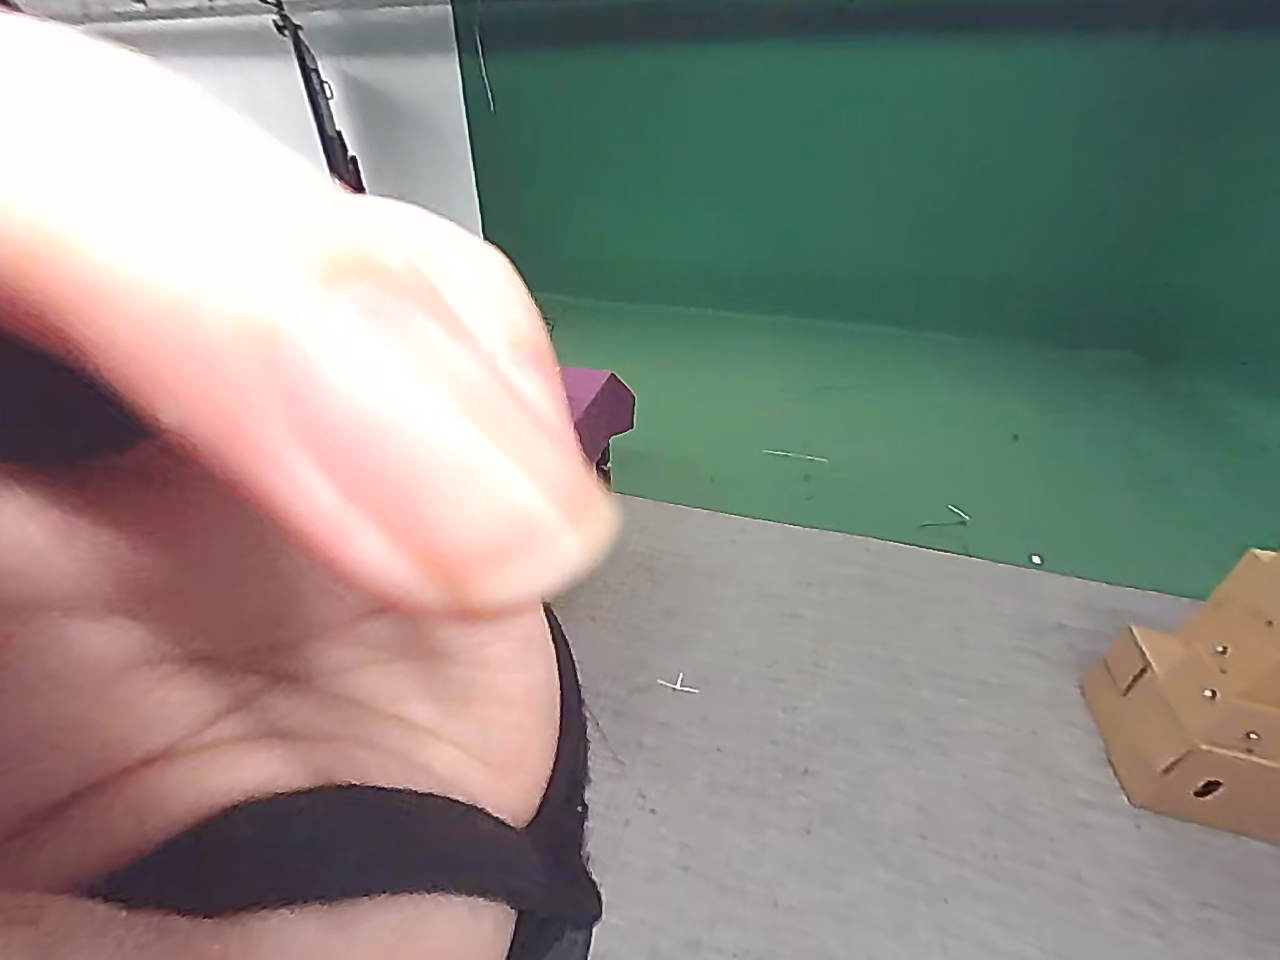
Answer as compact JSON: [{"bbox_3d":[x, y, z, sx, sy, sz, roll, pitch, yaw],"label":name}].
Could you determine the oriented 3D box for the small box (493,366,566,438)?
[{"bbox_3d":[-0.344,-0.249,1.730,0.168,0.176,0.179,9,34,13],"label":"small box"}]

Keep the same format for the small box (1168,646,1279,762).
[{"bbox_3d":[1.441,0.537,1.296,0.168,0.176,0.179,12,35,14],"label":"small box"}]

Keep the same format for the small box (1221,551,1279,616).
[{"bbox_3d":[1.647,0.309,1.355,0.168,0.176,0.179,11,34,11],"label":"small box"}]
